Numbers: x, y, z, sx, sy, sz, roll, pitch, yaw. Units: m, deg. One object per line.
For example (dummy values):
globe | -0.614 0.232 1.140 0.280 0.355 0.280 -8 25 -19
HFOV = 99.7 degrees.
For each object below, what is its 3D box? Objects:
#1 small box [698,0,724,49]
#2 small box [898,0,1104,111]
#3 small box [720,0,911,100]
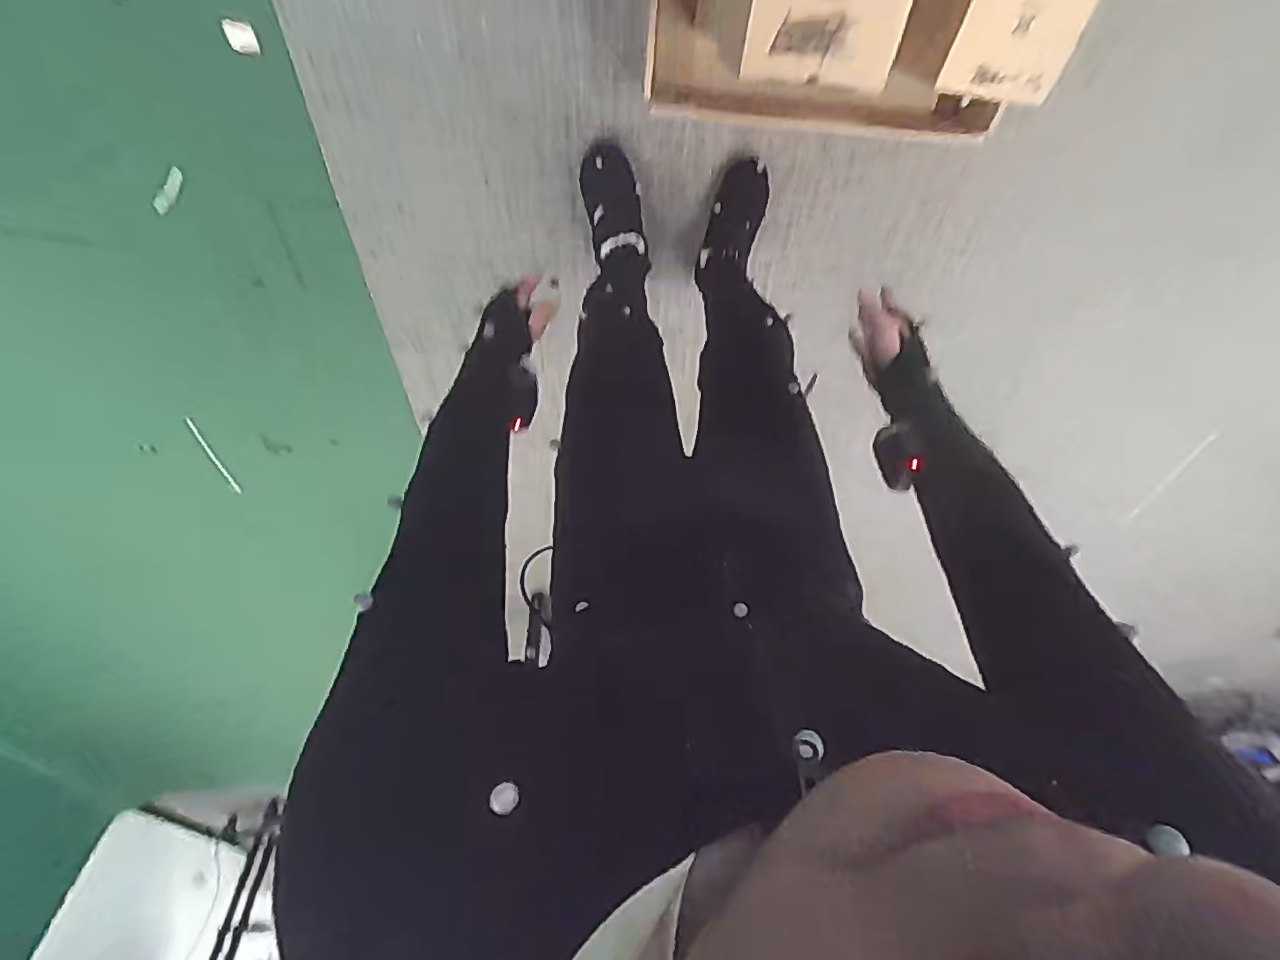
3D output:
small box | 0.187 -0.770 0.828 0.168 0.176 0.179 2 133 -5
small box | 0.489 -0.637 0.742 0.168 0.176 0.179 4 134 -6
small box | 0.189 -0.543 0.592 0.168 0.176 0.179 2 133 -5
